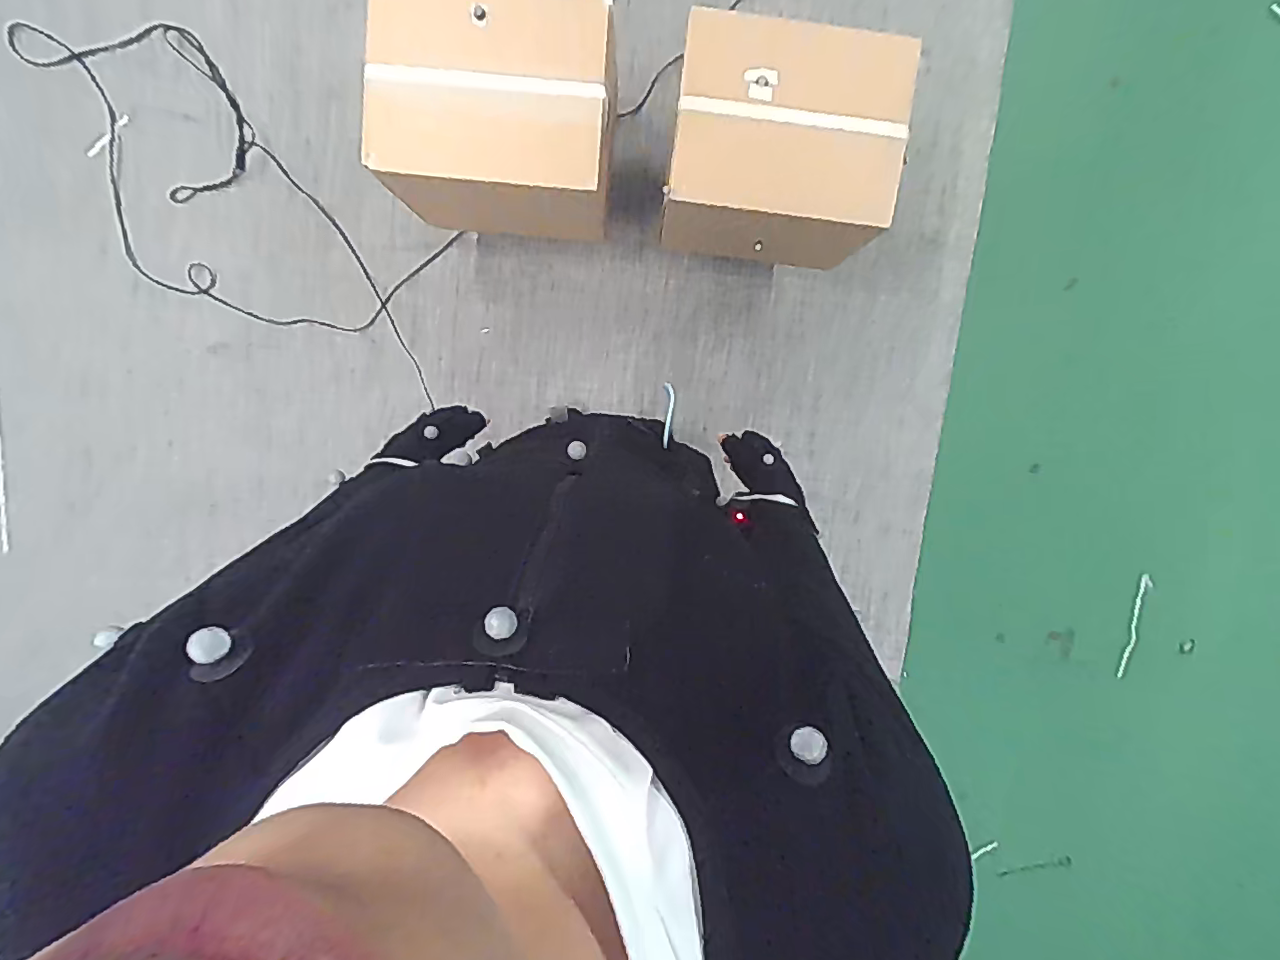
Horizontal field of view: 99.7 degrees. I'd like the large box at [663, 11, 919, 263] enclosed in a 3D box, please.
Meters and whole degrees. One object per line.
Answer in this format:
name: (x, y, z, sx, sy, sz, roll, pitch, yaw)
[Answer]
large box: (0.270, -0.654, 1.097, 0.408, 0.320, 0.320, 7, 98, -1)
